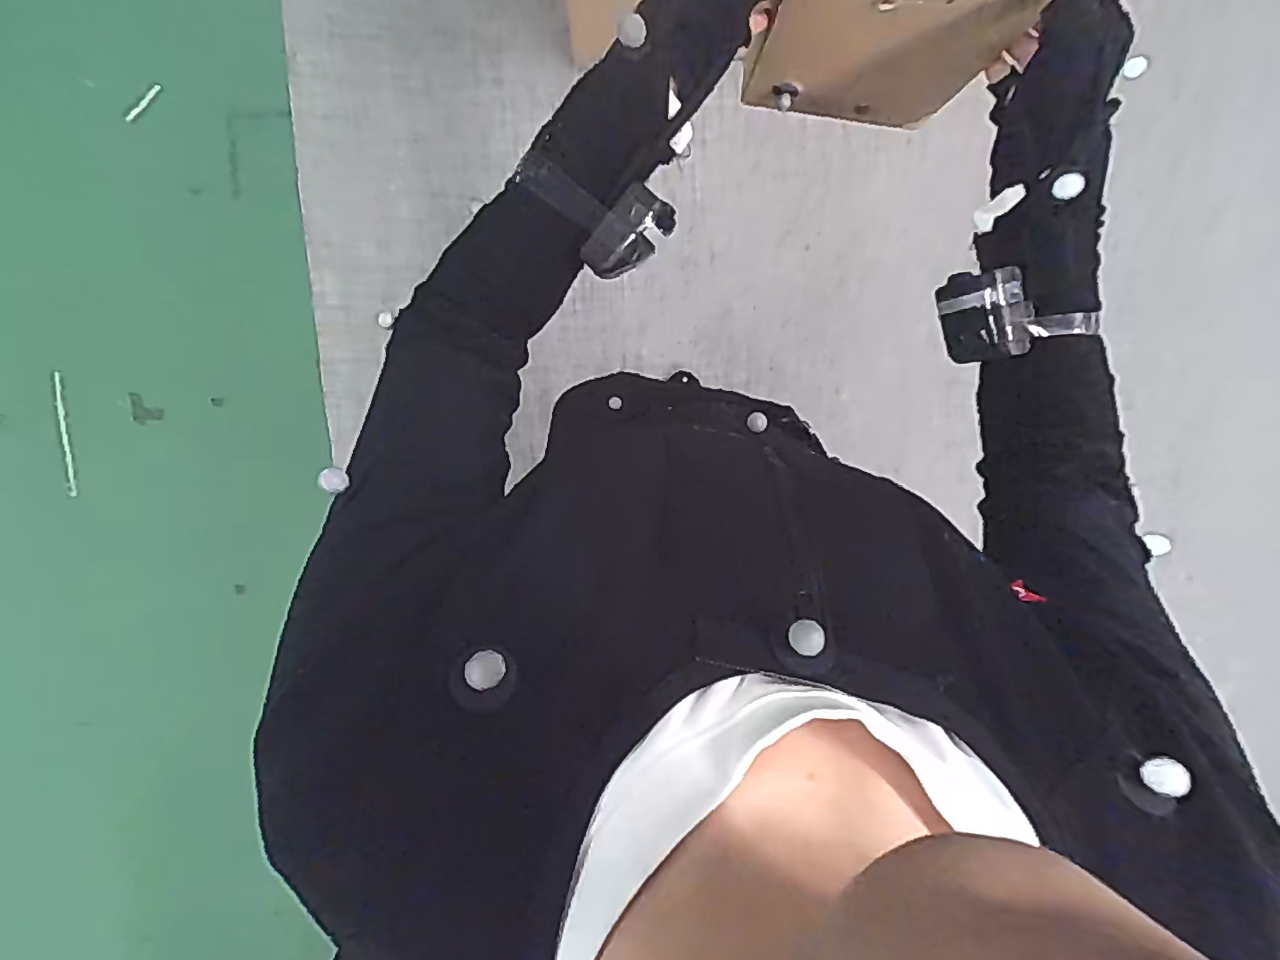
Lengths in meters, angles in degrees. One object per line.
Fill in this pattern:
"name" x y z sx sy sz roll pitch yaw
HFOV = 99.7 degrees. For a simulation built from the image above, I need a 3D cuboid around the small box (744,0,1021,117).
"small box" 0.180 -0.405 0.394 0.168 0.176 0.179 7 97 -3
